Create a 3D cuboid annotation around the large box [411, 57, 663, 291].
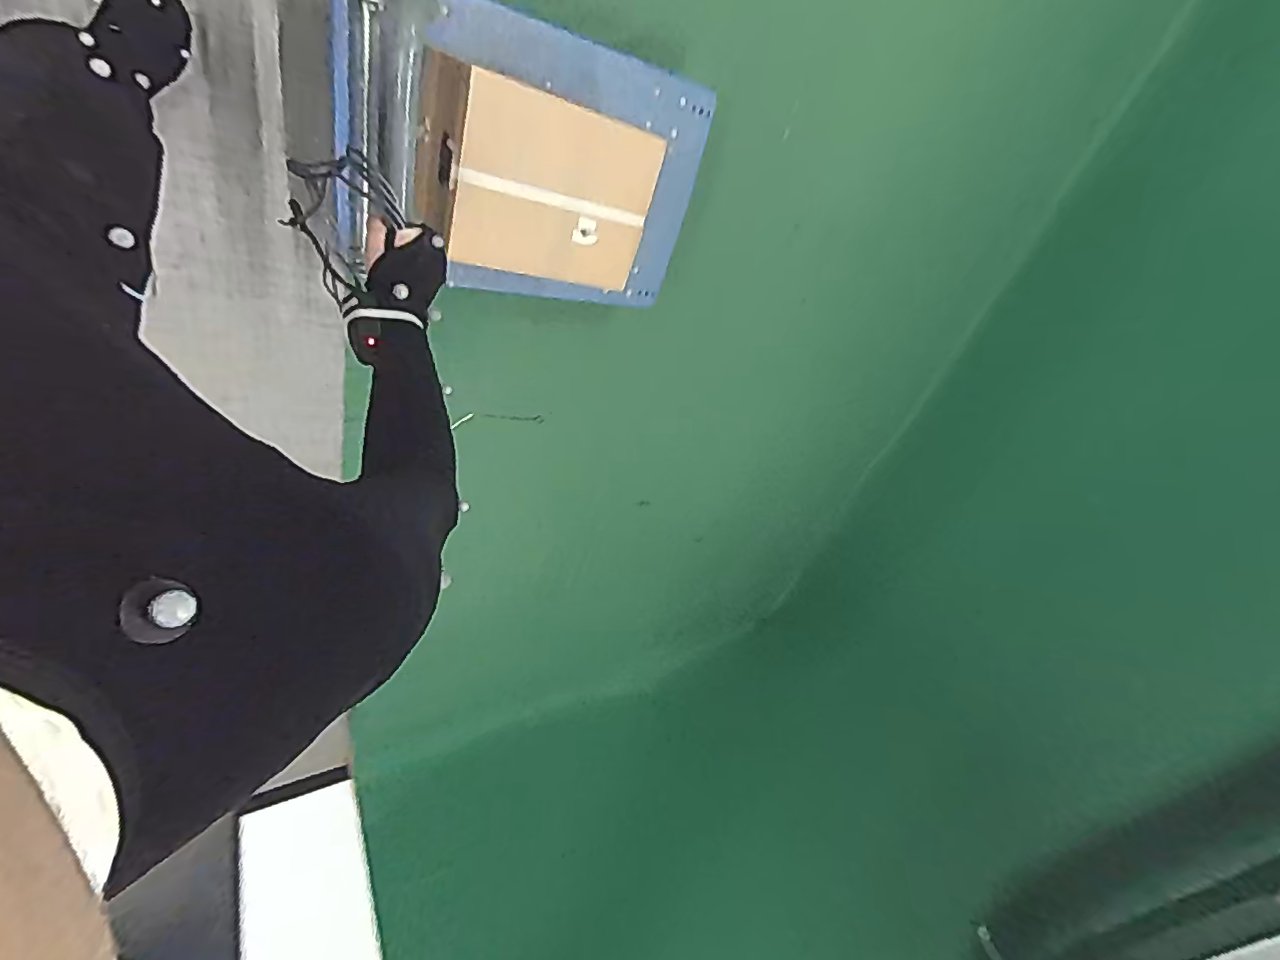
[{"bbox_3d":[-0.233,-0.630,1.145,0.408,0.320,0.320,-4,131,-36],"label":"large box"}]
